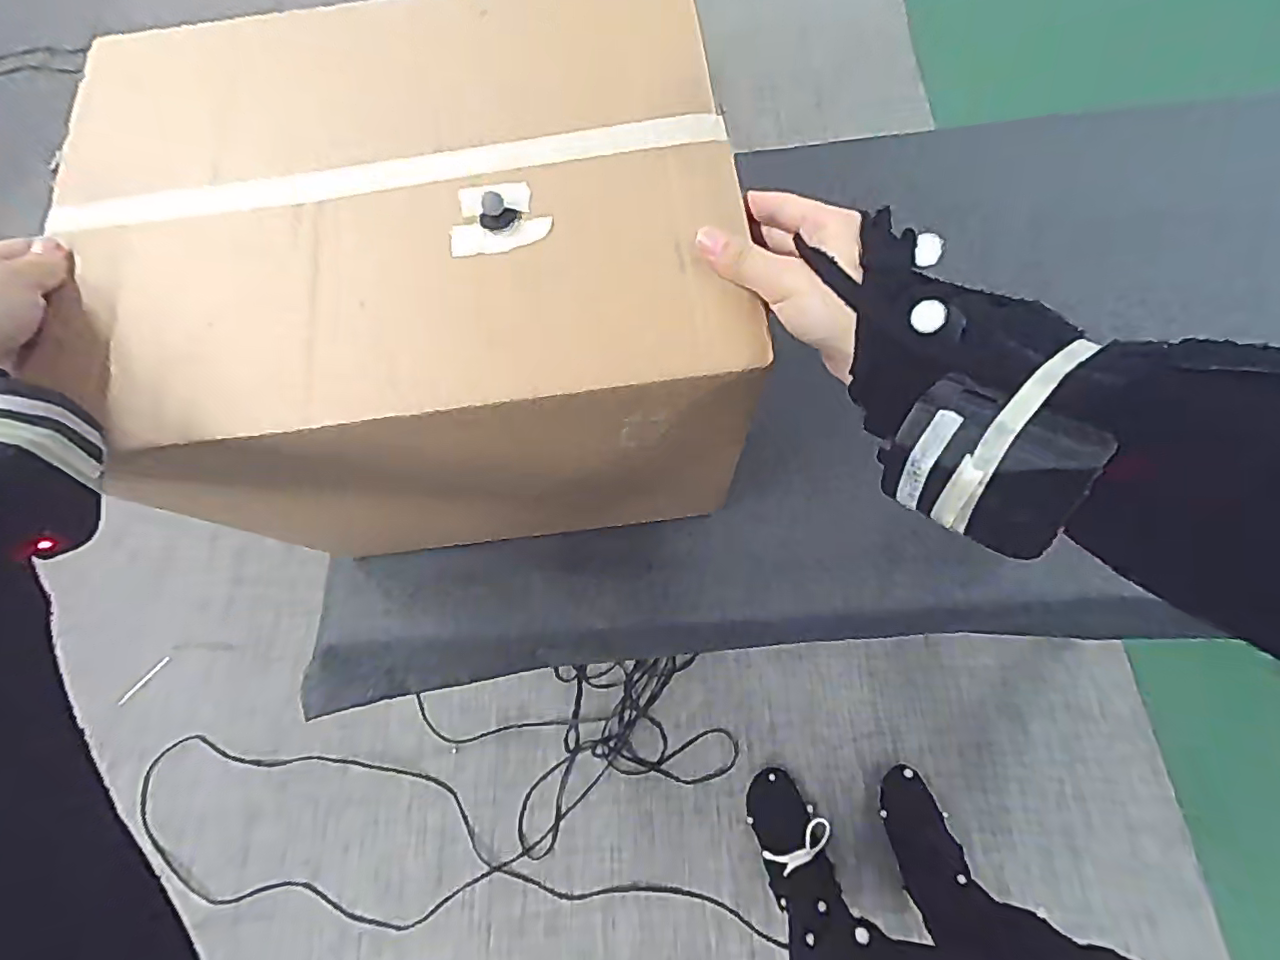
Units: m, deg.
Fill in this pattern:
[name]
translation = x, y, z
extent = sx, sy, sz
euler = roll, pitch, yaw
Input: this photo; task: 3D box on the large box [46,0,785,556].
[large box]
translation = -0.133, -0.134, 0.473
extent = 0.408, 0.320, 0.320
euler = -7, 73, 0
